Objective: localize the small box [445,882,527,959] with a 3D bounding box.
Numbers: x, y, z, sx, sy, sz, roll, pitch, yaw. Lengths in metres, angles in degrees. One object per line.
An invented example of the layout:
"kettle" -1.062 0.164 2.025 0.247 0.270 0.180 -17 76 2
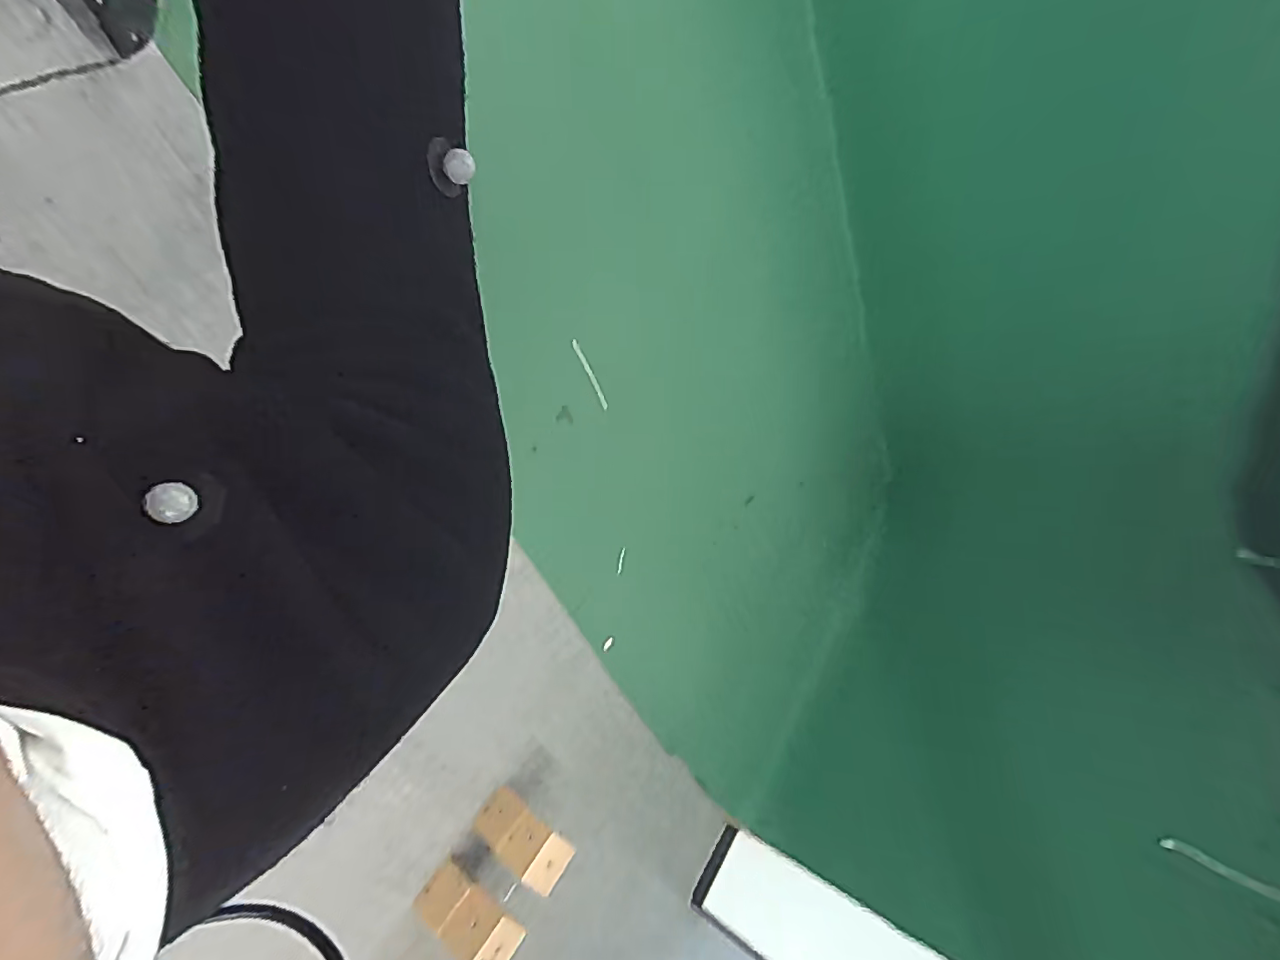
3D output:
"small box" -0.511 1.484 1.773 0.179 0.176 0.168 -46 127 -32

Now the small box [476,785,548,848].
"small box" -0.477 1.279 2.015 0.168 0.176 0.179 -46 127 -30

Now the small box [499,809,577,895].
"small box" -0.362 1.299 1.902 0.168 0.176 0.179 -49 128 -30
